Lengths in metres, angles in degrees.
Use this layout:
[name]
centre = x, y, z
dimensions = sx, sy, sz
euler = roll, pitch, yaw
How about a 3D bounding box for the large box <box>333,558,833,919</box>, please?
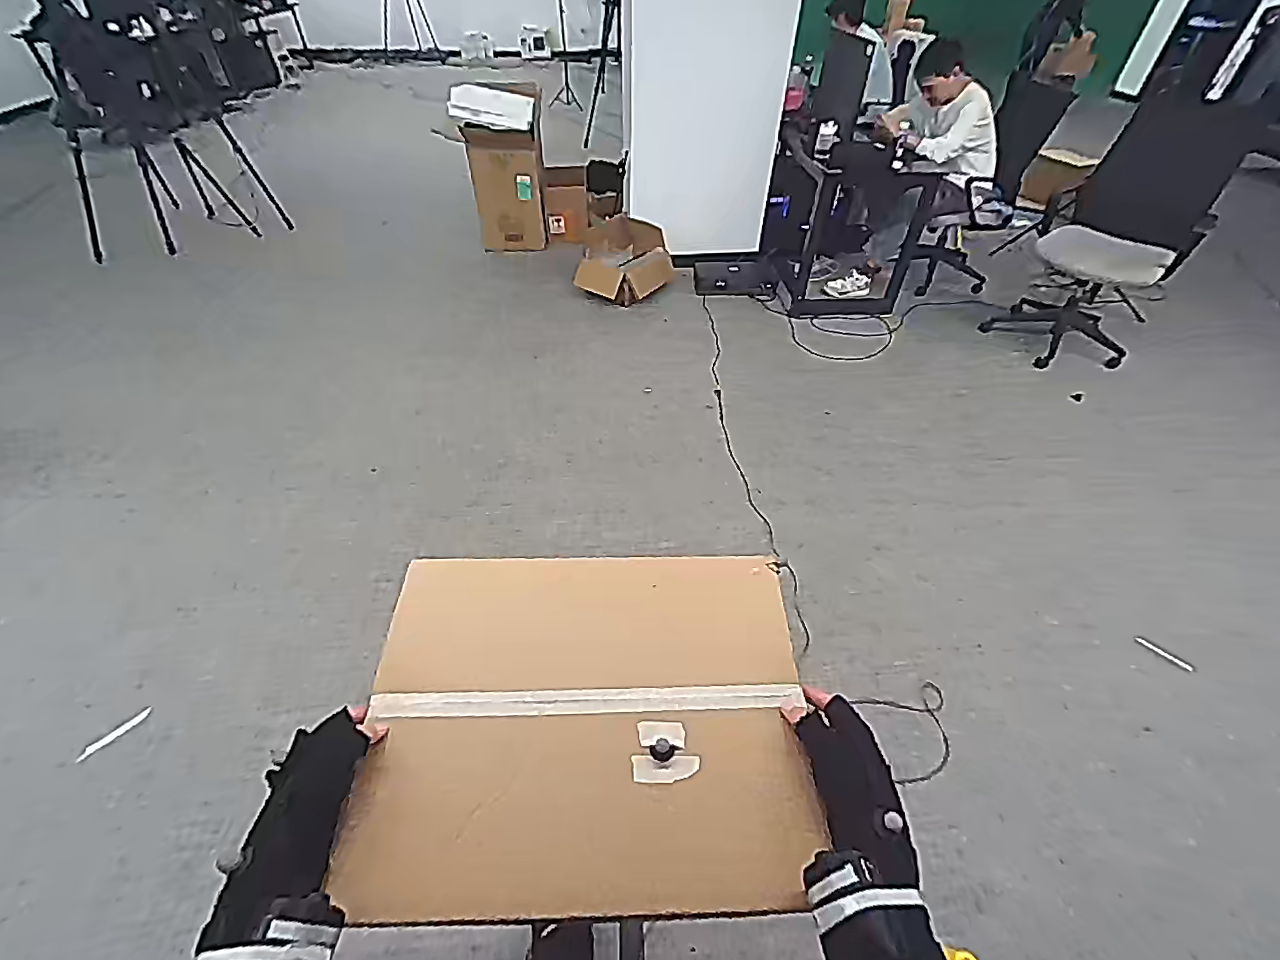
[large box]
centre = -0.051, 0.303, 0.632
dimensions = 0.408, 0.320, 0.320
euler = 0, 51, -2
